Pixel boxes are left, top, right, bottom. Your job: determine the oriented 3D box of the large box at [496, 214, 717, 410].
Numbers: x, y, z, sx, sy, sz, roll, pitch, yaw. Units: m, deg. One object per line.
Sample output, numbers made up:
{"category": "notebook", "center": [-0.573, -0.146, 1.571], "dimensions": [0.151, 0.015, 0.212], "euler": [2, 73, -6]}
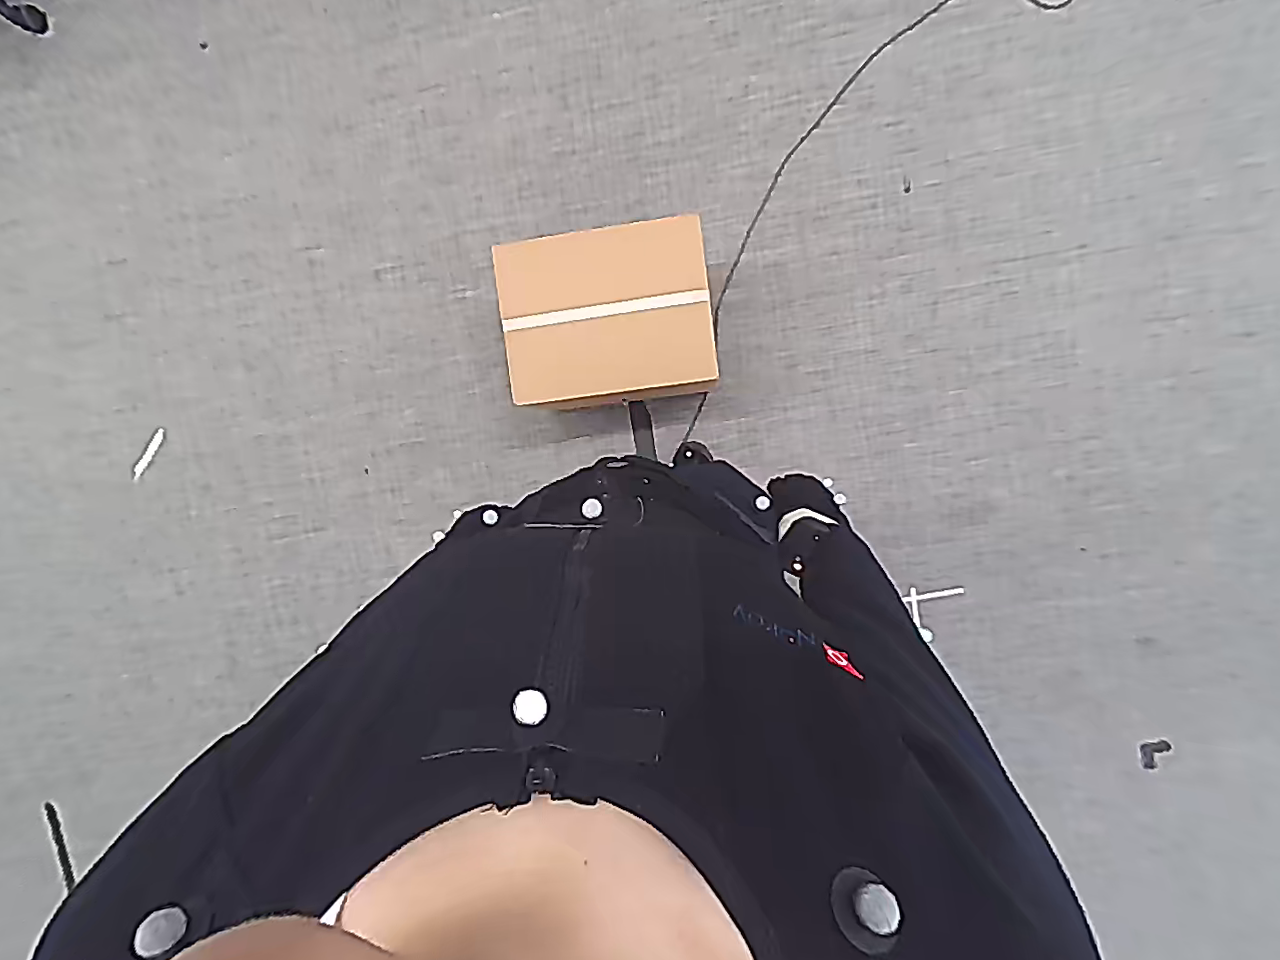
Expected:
{"category": "large box", "center": [-0.057, -0.339, 1.193], "dimensions": [0.408, 0.320, 0.320], "euler": [-7, 95, 4]}
